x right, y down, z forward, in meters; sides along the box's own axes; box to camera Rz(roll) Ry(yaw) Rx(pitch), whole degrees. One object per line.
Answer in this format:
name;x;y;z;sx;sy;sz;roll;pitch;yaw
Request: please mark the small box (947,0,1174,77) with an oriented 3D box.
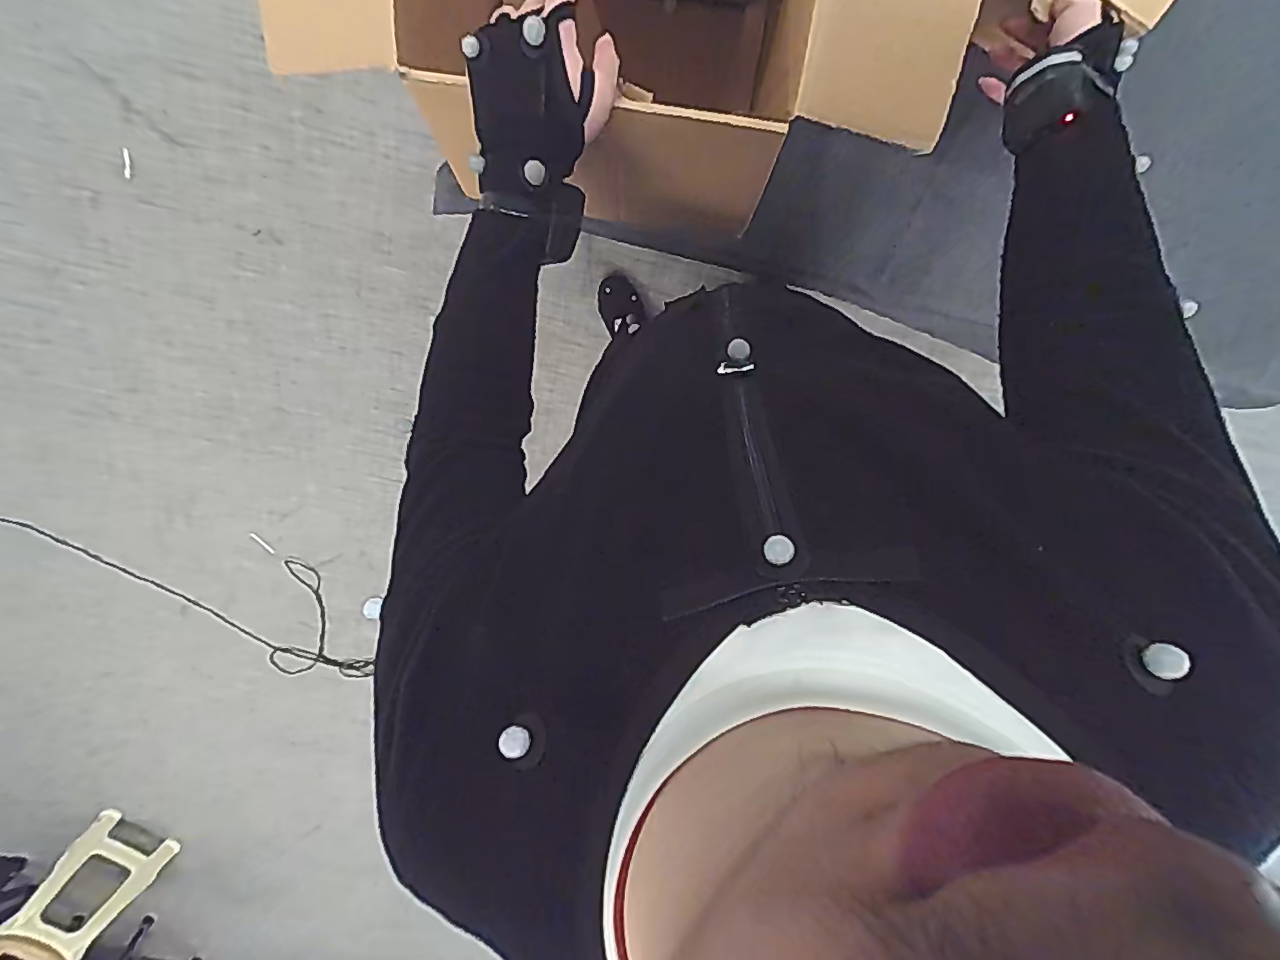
small box;0.440;-0.546;0.531;0.168;0.176;0.179;26;111;-10
